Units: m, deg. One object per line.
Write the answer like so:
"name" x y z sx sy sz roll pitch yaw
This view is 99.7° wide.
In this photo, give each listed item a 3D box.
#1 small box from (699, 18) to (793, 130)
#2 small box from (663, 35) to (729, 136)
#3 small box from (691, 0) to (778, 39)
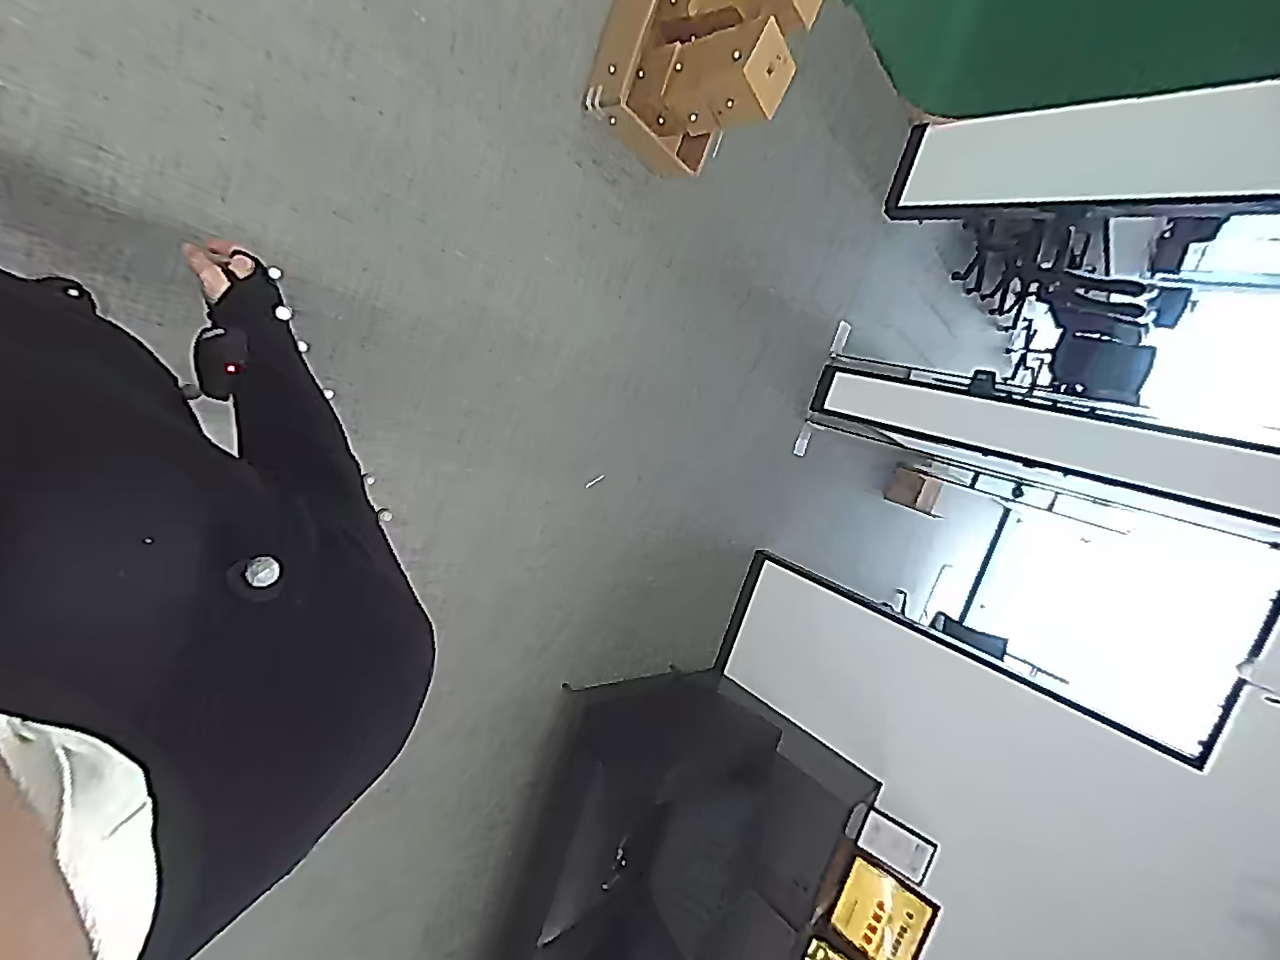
"small box" 0.290 -1.121 1.510 0.168 0.176 0.179 30 85 -47
"small box" 0.192 -1.177 1.632 0.168 0.176 0.179 18 94 -47
"small box" 0.282 -1.417 1.619 0.179 0.176 0.168 11 102 -47
